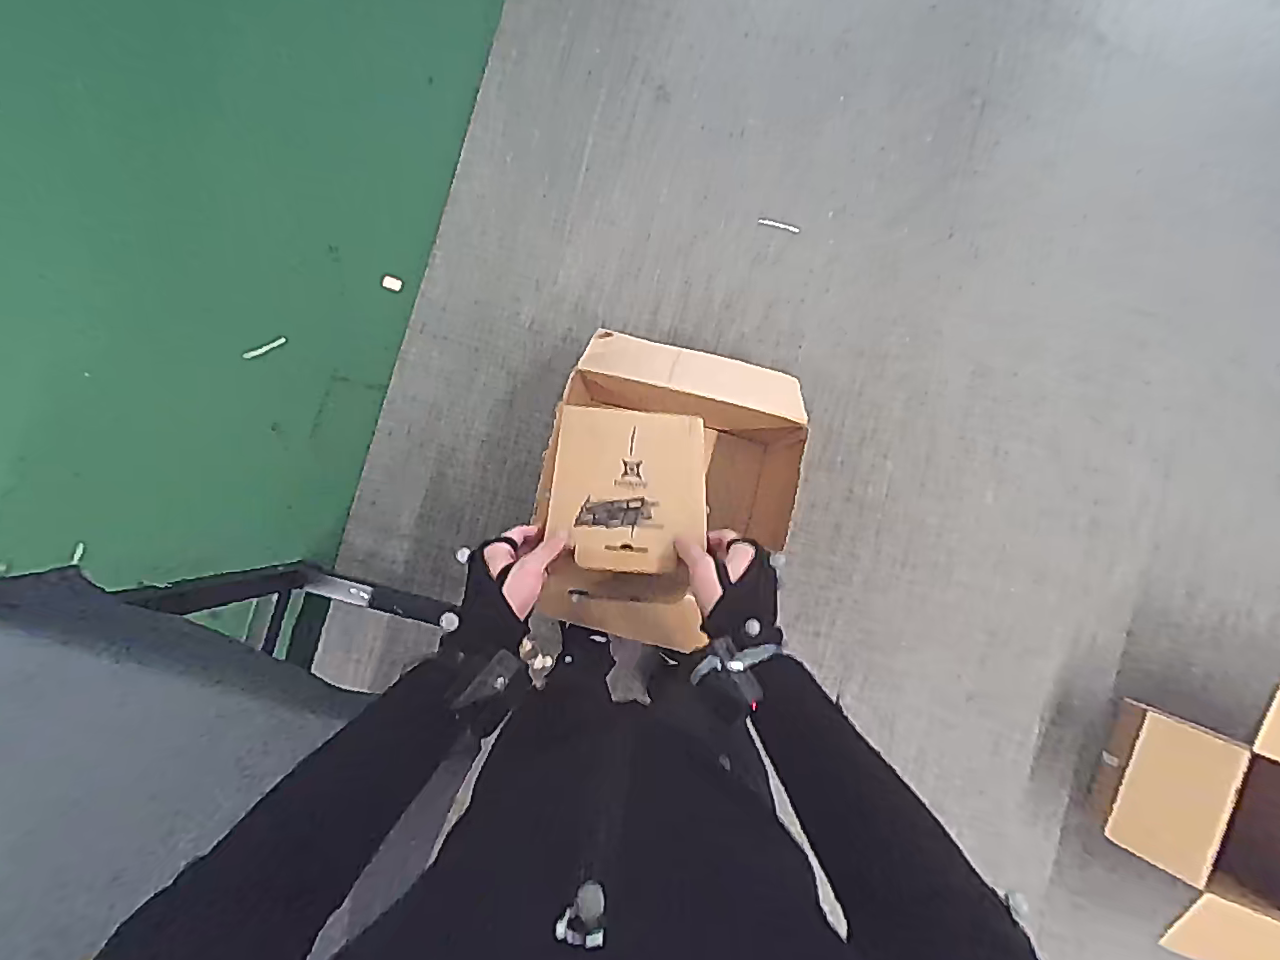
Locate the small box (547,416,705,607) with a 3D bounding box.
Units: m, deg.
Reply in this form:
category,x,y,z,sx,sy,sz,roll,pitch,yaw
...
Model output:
category,x,y,z,sx,sy,sz,roll,pitch,yaw
small box,-0.018,0.047,0.673,0.168,0.176,0.179,7,58,-4
